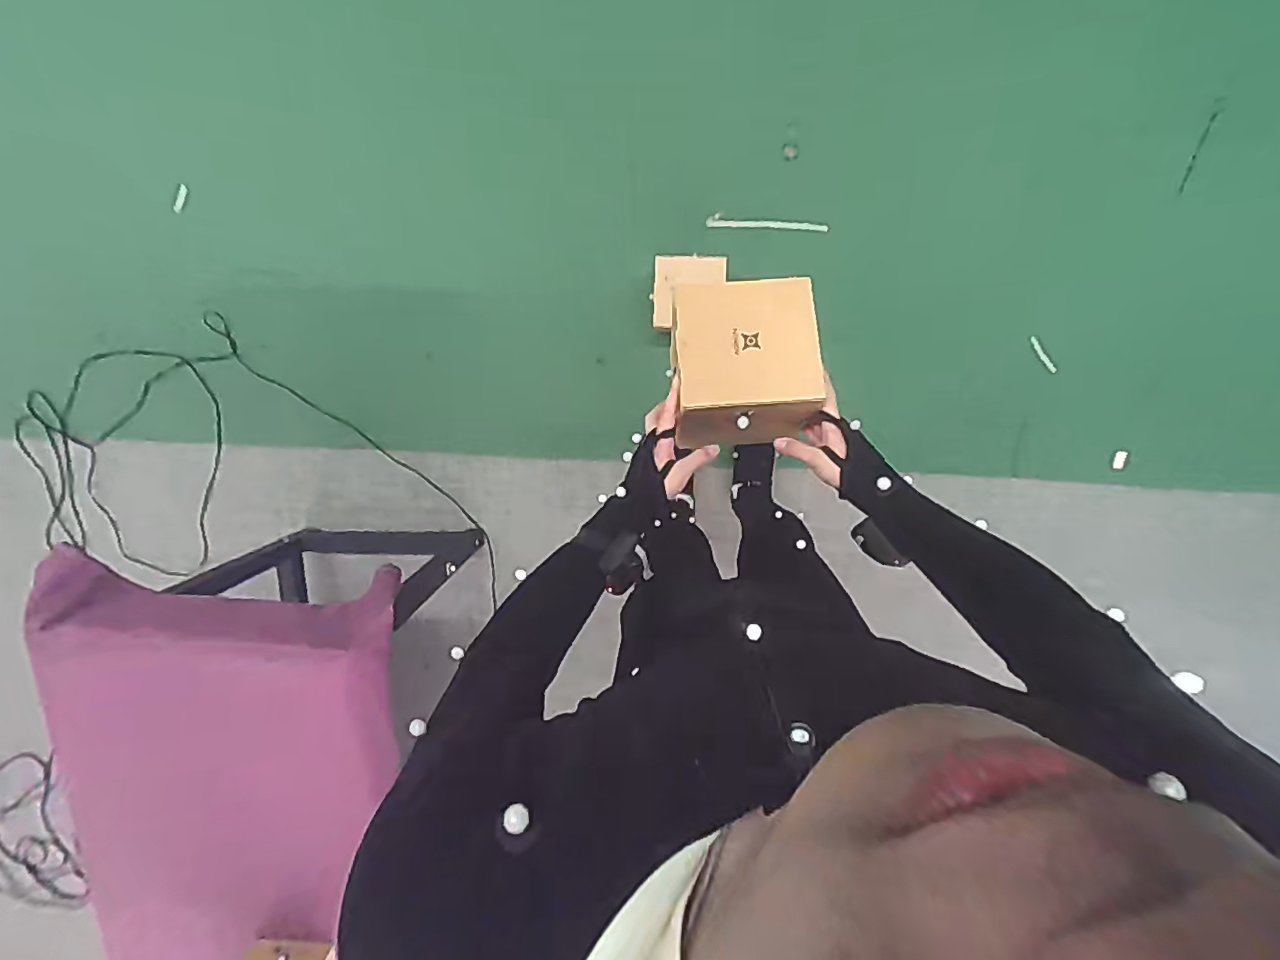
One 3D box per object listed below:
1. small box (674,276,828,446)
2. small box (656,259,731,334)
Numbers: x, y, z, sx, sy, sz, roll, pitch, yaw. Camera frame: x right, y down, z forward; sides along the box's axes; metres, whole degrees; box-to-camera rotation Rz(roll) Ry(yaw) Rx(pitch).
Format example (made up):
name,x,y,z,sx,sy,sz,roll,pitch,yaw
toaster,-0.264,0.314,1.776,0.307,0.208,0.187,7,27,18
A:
name,x,y,z,sx,sy,sz,roll,pitch,yaw
small box,0.136,-0.149,0.728,0.179,0.176,0.168,-4,76,4
small box,0.134,-0.464,1.392,0.179,0.176,0.168,3,101,4
